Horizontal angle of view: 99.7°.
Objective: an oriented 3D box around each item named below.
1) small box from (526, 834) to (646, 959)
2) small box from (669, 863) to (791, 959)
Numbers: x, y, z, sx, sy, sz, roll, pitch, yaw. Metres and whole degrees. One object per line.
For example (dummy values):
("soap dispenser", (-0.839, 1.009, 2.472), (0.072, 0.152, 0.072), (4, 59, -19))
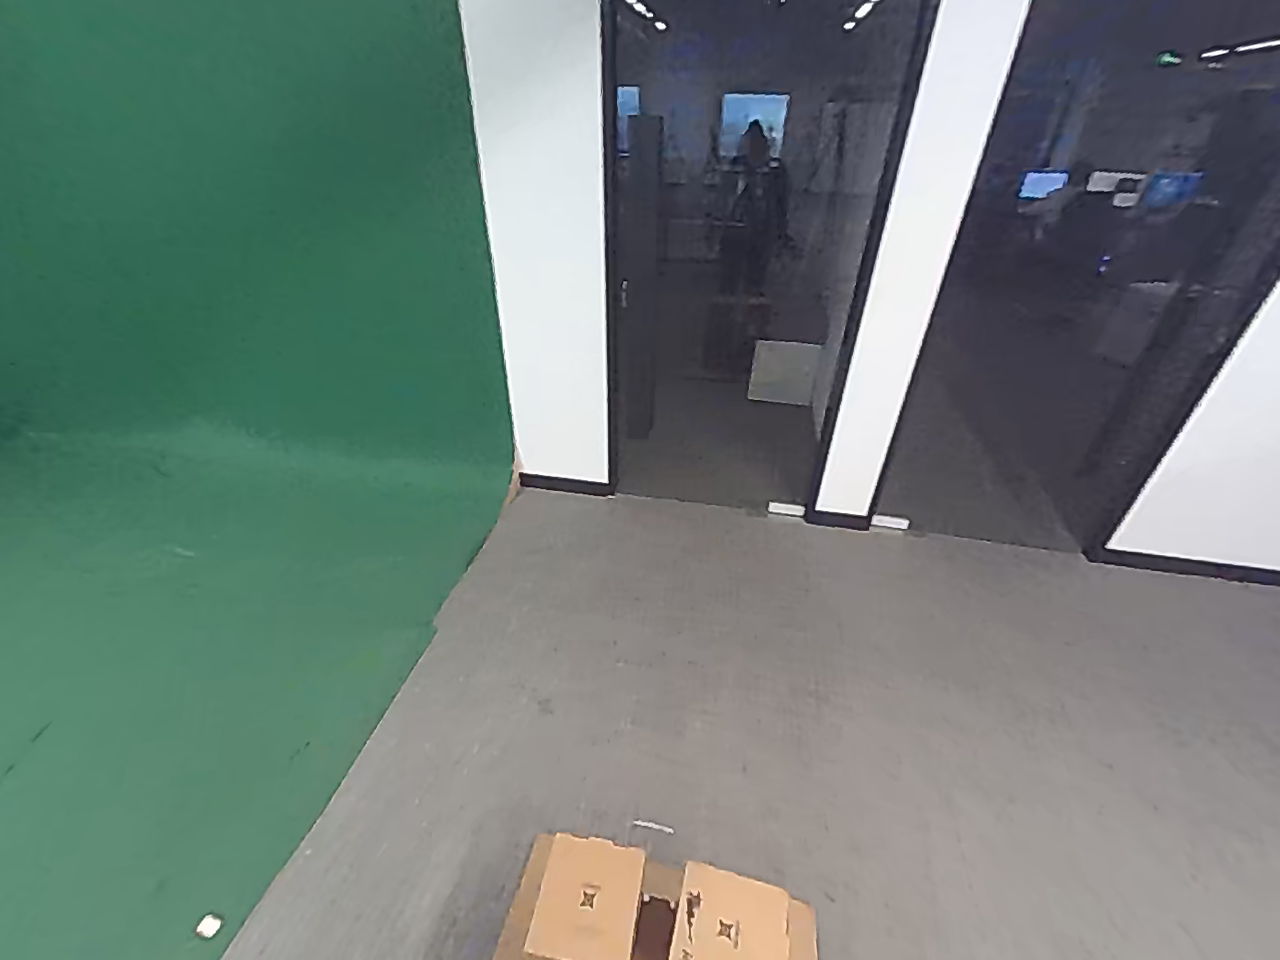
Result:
("small box", (-0.086, 0.754, 0.927), (0.168, 0.176, 0.179), (6, 33, 7))
("small box", (0.141, 0.782, 0.889), (0.179, 0.176, 0.168), (10, 34, 13))
